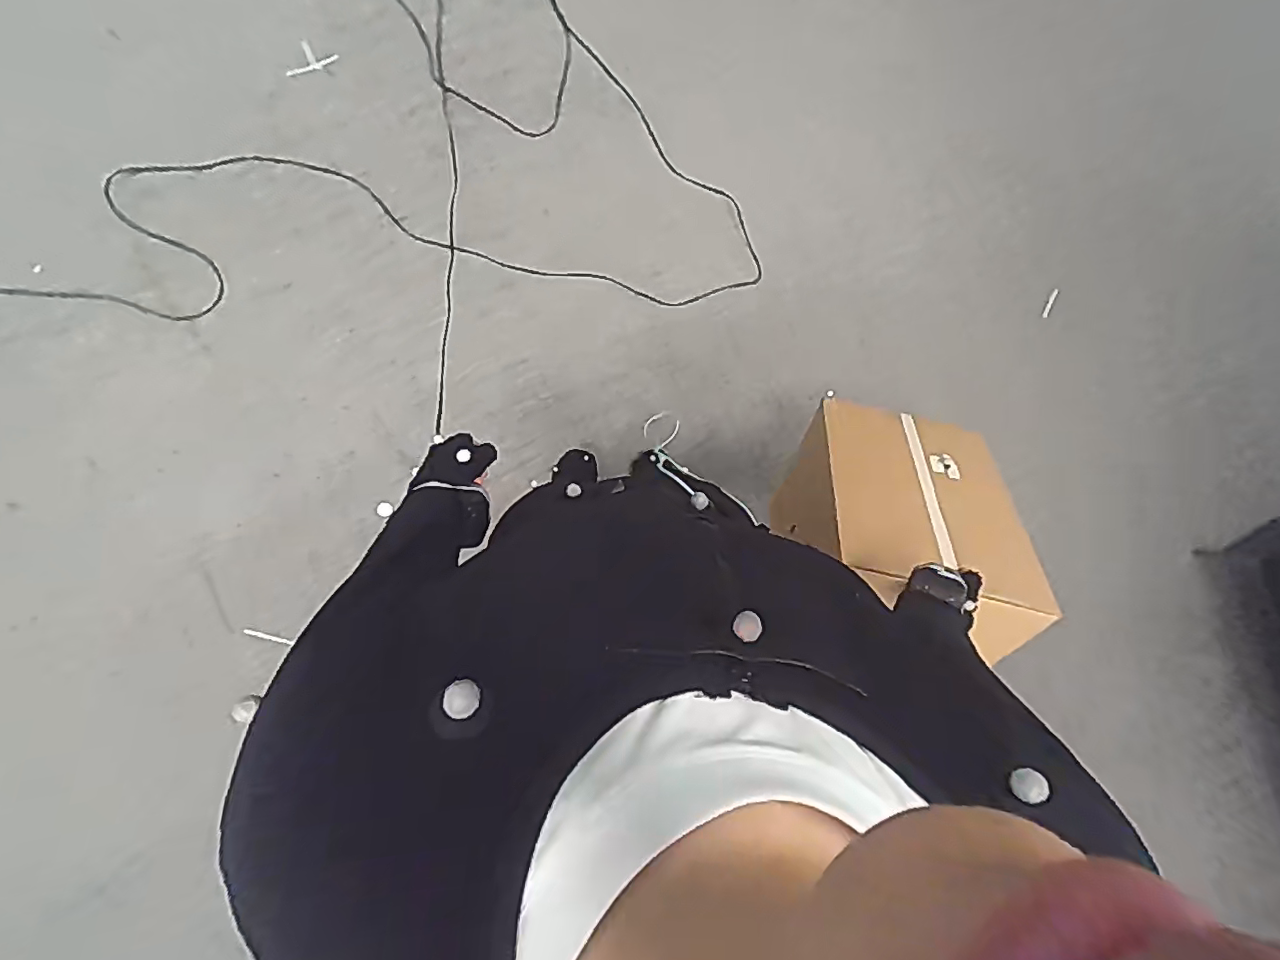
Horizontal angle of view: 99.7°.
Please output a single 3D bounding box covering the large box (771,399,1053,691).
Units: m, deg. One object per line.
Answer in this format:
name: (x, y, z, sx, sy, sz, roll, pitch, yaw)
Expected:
large box: (0.440, 0.115, 1.001, 0.320, 0.408, 0.320, 13, 135, 0)
